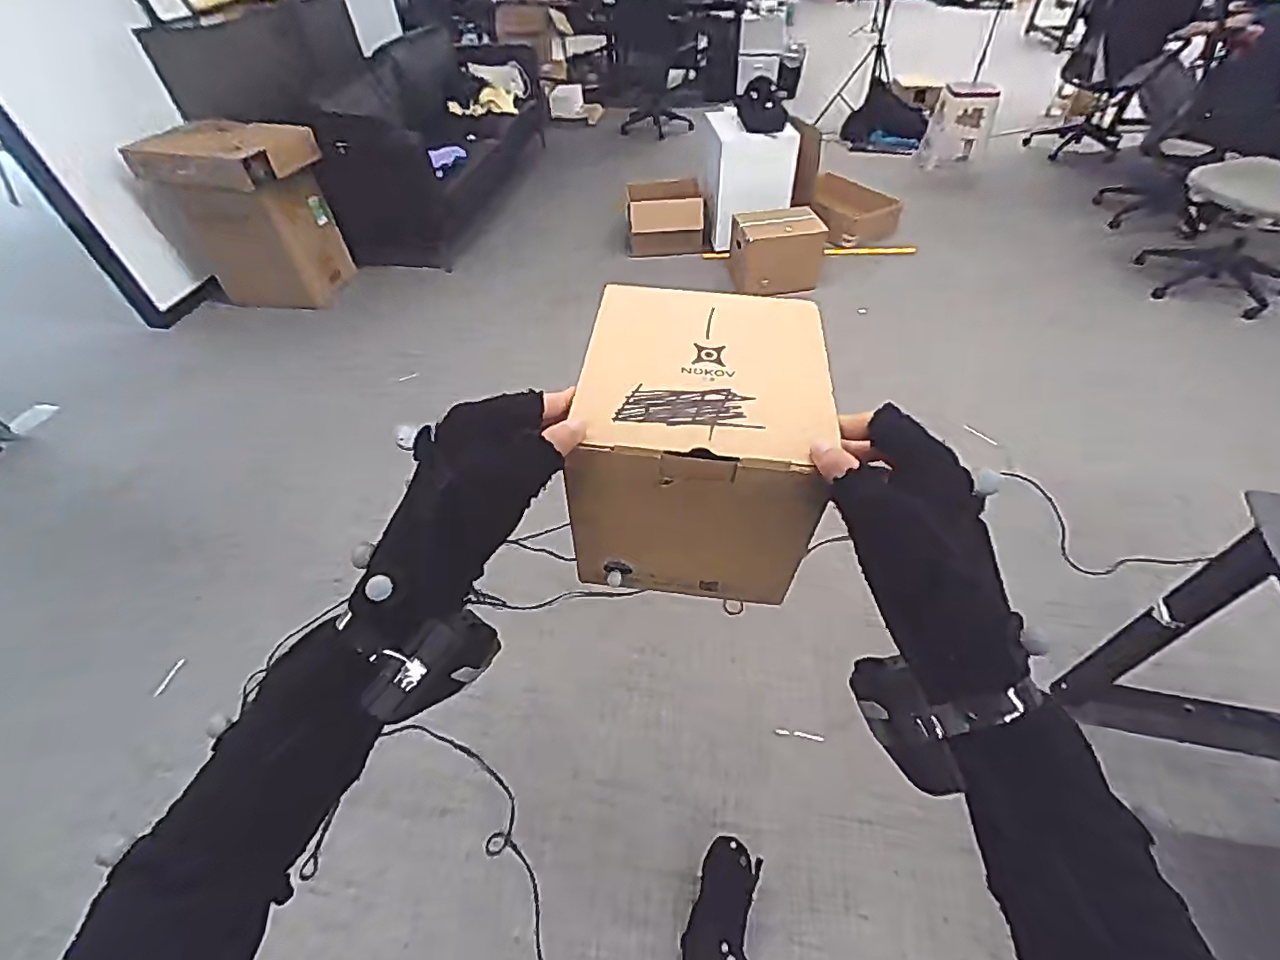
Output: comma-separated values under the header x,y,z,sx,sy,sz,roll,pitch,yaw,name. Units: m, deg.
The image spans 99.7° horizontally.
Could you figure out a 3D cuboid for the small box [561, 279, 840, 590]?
x,y,z,sx,sy,sz,roll,pitch,yaw,name
0.044,-0.032,0.425,0.168,0.176,0.179,6,50,4,small box
